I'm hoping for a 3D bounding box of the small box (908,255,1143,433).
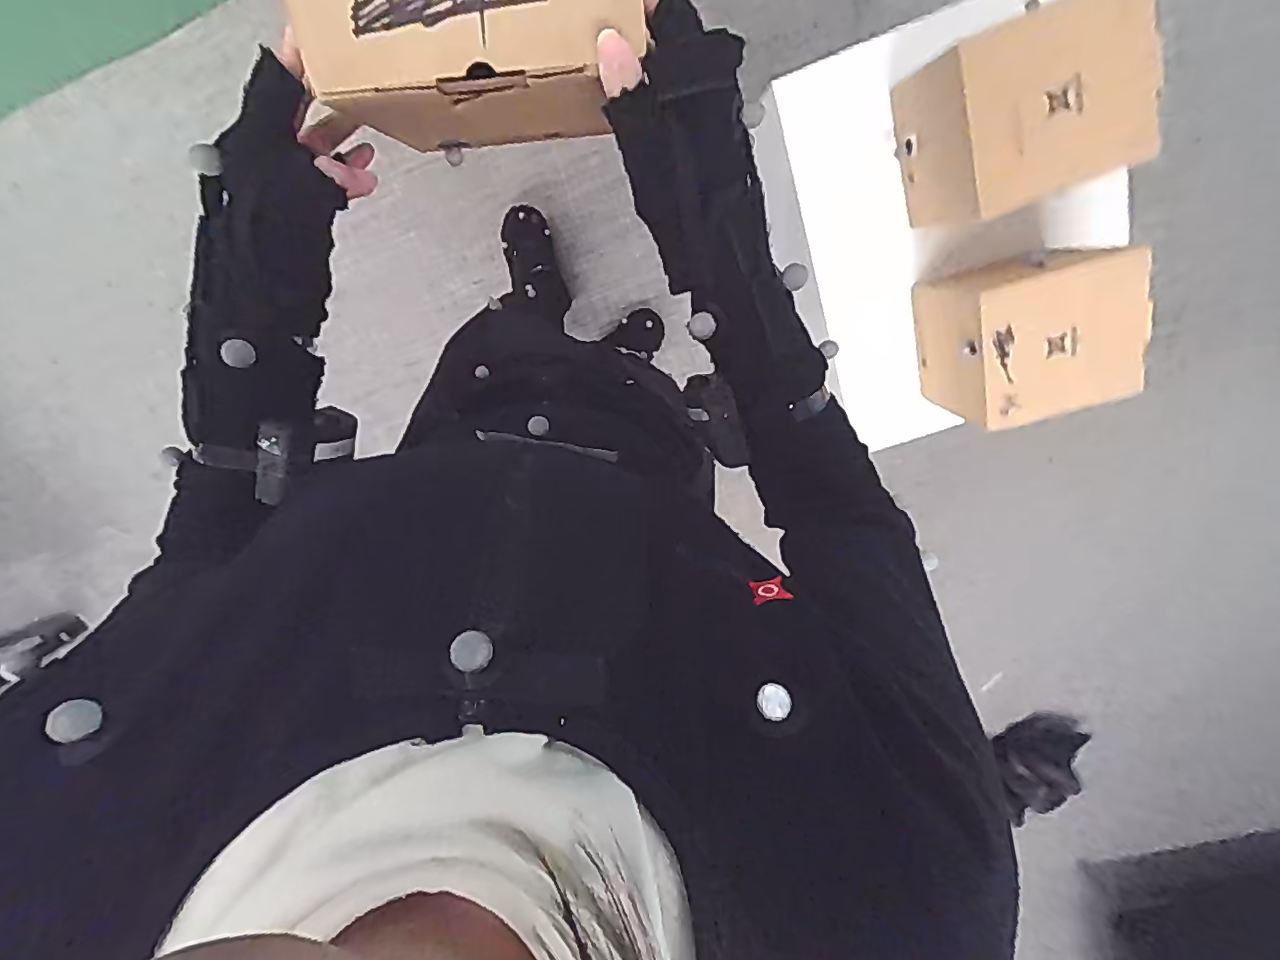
[{"bbox_3d":[0.467,-0.178,0.680,0.179,0.176,0.168,-14,111,6],"label":"small box"}]

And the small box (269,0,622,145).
[{"bbox_3d":[-0.099,-0.307,0.307,0.168,0.176,0.179,-7,112,0],"label":"small box"}]

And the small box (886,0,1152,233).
[{"bbox_3d":[0.403,-0.390,0.598,0.179,0.176,0.168,-19,110,10],"label":"small box"}]
